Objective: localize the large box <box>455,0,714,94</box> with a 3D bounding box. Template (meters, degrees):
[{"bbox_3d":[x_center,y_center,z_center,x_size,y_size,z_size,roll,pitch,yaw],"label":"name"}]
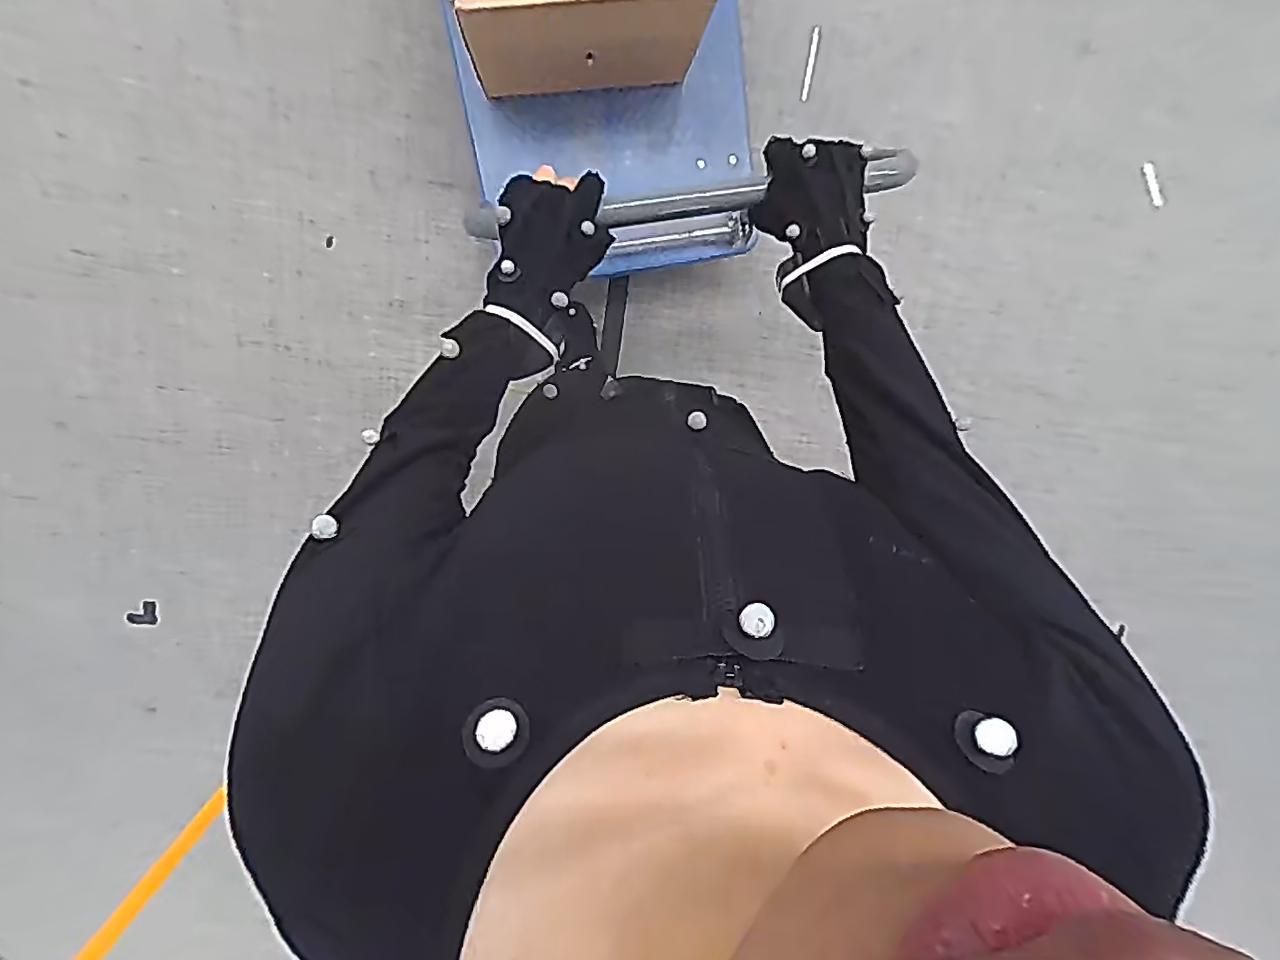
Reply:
[{"bbox_3d":[-0.107,-0.901,0.910,0.408,0.320,0.320,-8,105,-4],"label":"large box"}]

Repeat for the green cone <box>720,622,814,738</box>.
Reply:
[{"bbox_3d":[0.382,0.578,1.502,0.202,0.368,0.200,10,103,-11],"label":"green cone"}]
